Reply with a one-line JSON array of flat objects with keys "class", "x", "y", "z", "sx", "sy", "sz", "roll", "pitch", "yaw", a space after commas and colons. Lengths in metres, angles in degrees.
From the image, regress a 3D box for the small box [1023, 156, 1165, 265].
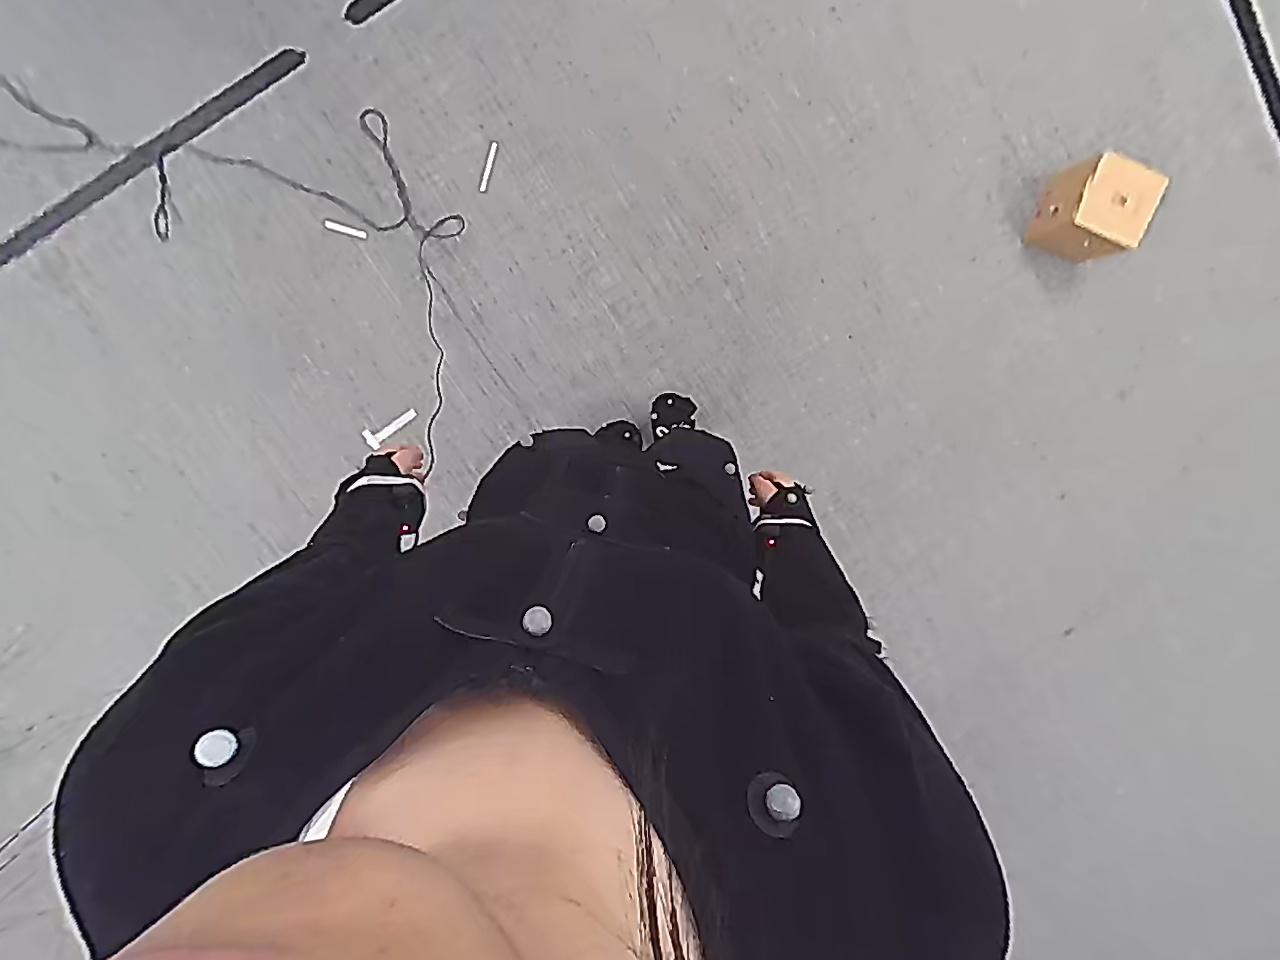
[{"class": "small box", "x": 1.105, "y": -0.652, "z": 1.332, "sx": 0.179, "sy": 0.176, "sz": 0.168, "roll": 20, "pitch": 99, "yaw": -6}]
